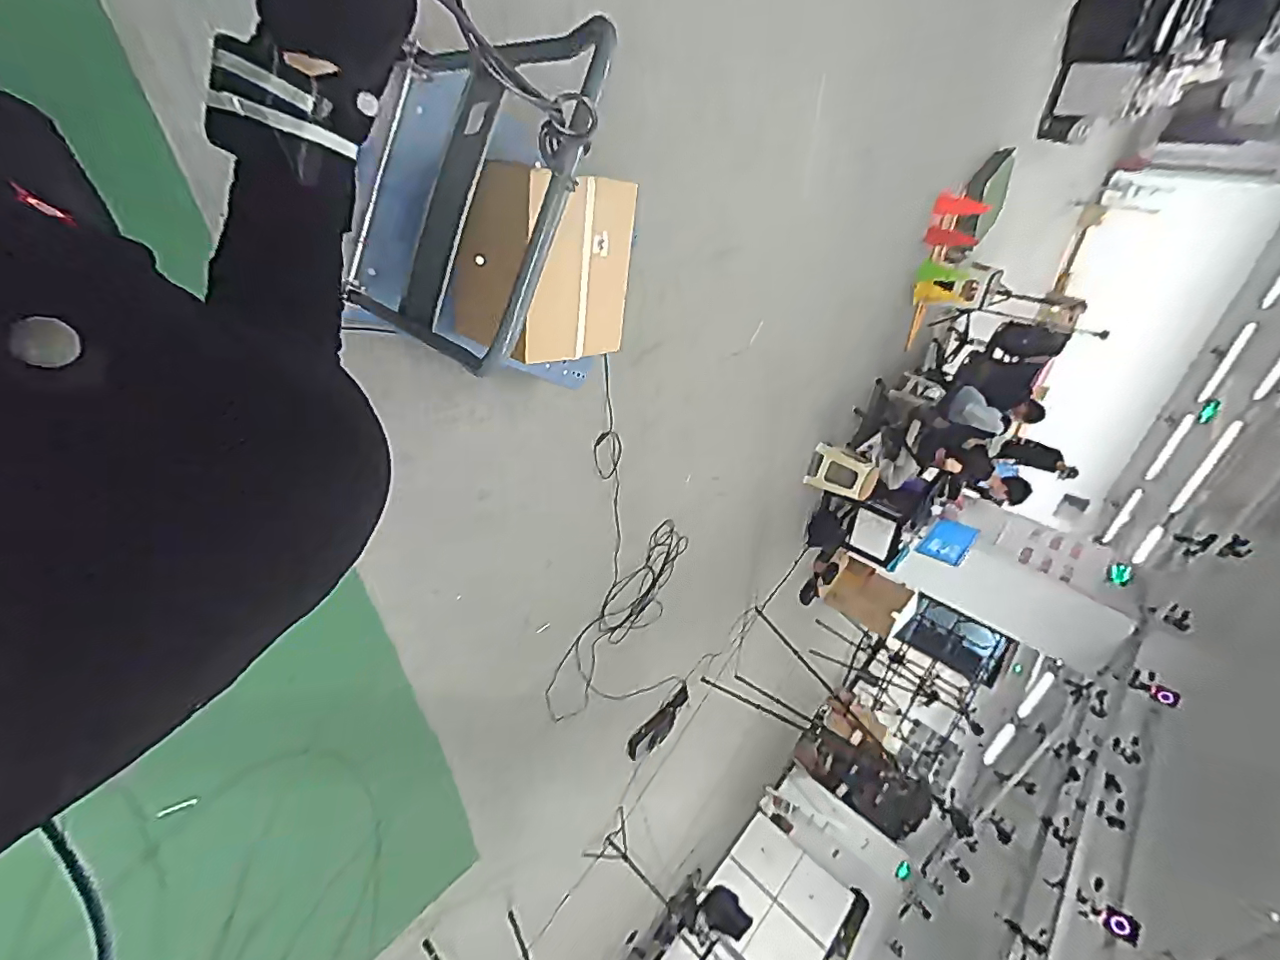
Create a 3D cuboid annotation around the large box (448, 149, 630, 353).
[{"bbox_3d":[-0.256,-0.566,1.347,0.320,0.320,0.408,-22,130,-44],"label":"large box"}]
